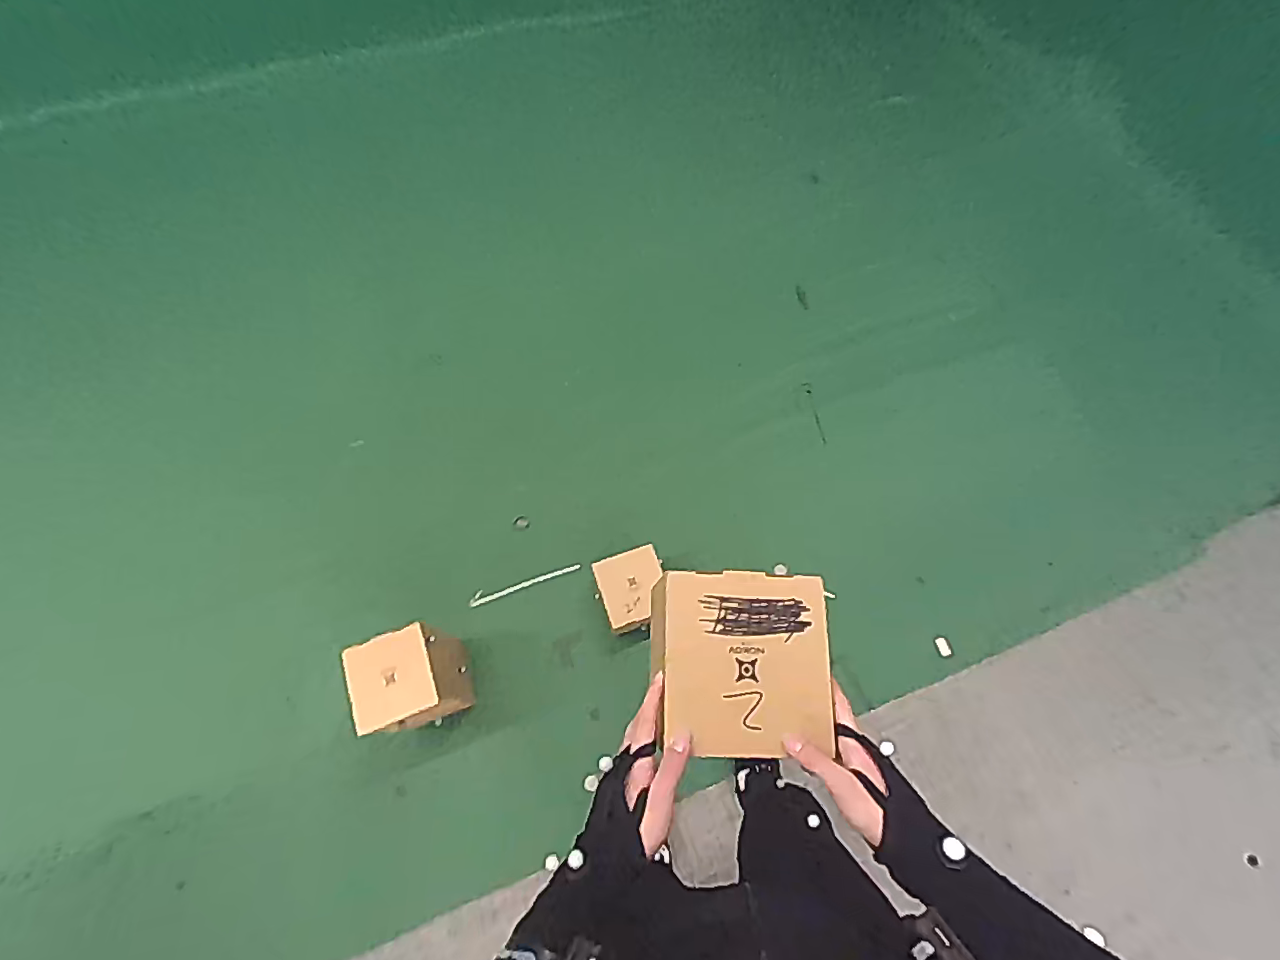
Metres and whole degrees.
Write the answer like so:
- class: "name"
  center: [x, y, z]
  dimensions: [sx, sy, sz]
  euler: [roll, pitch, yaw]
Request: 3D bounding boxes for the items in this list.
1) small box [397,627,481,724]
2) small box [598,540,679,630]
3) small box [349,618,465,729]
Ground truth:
- class: "small box"
  center: [-0.511, 0.484, 1.338]
  dimensions: [0.168, 0.176, 0.179]
  euler: [-20, 71, -9]
- class: "small box"
  center: [-0.010, 0.282, 1.435]
  dimensions: [0.168, 0.176, 0.179]
  euler: [-18, 70, -9]
- class: "small box"
  center: [-0.504, 0.424, 1.189]
  dimensions: [0.168, 0.176, 0.179]
  euler: [-20, 70, -9]
